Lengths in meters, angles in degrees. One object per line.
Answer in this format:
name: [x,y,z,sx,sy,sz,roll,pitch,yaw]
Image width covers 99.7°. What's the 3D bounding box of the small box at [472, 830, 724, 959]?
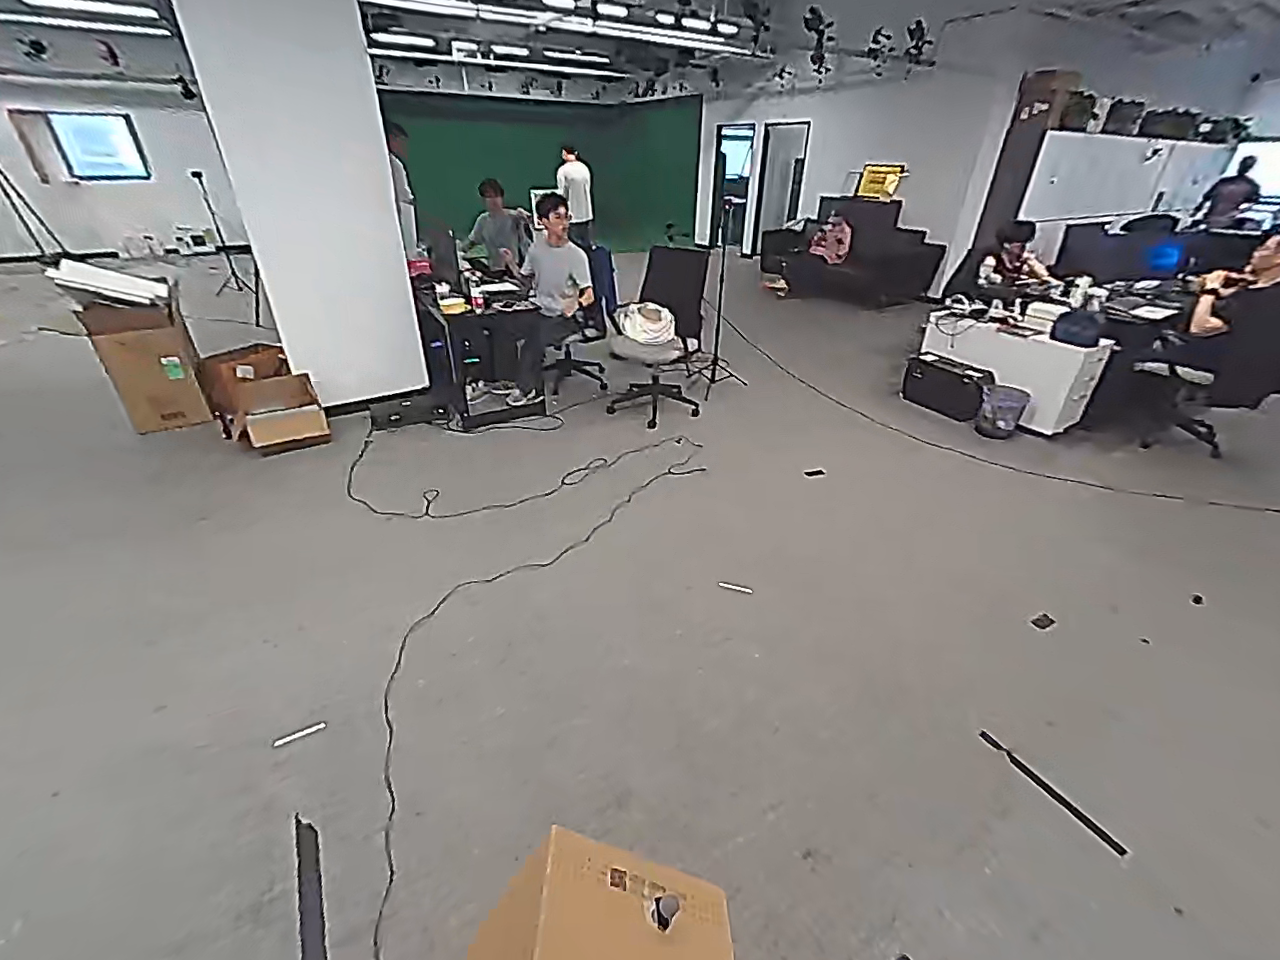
small box: [-0.040,0.414,0.405,0.168,0.179,0.176,28,19,-11]
